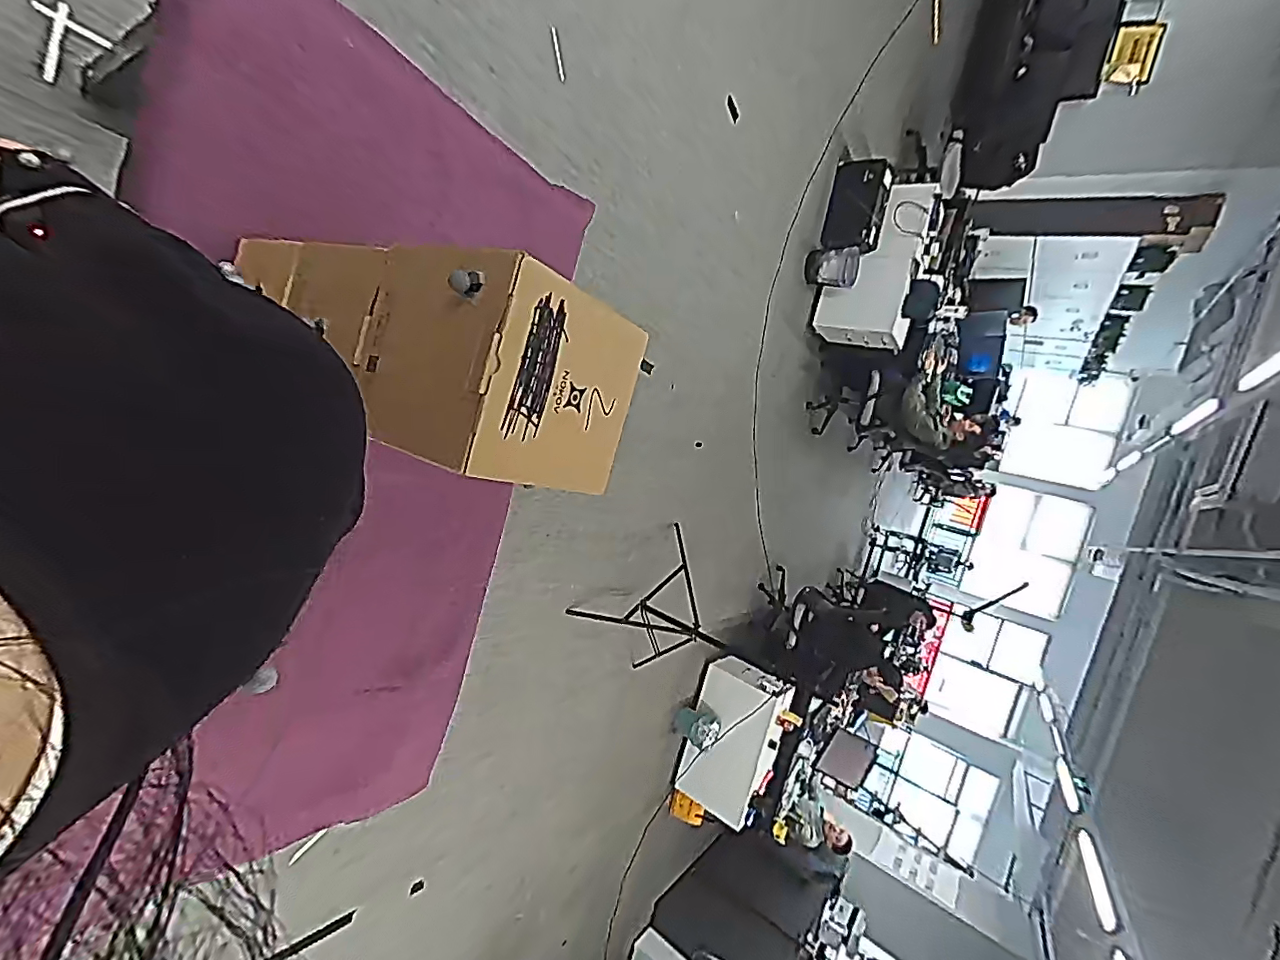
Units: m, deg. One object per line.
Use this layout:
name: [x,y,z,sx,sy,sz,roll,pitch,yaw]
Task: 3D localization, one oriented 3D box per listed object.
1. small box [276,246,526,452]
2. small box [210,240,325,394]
small box: [-0.262,-0.139,0.595,0.179,0.176,0.168,9,98,-57]
small box: [-0.397,-0.180,0.680,0.179,0.176,0.168,13,94,-58]
